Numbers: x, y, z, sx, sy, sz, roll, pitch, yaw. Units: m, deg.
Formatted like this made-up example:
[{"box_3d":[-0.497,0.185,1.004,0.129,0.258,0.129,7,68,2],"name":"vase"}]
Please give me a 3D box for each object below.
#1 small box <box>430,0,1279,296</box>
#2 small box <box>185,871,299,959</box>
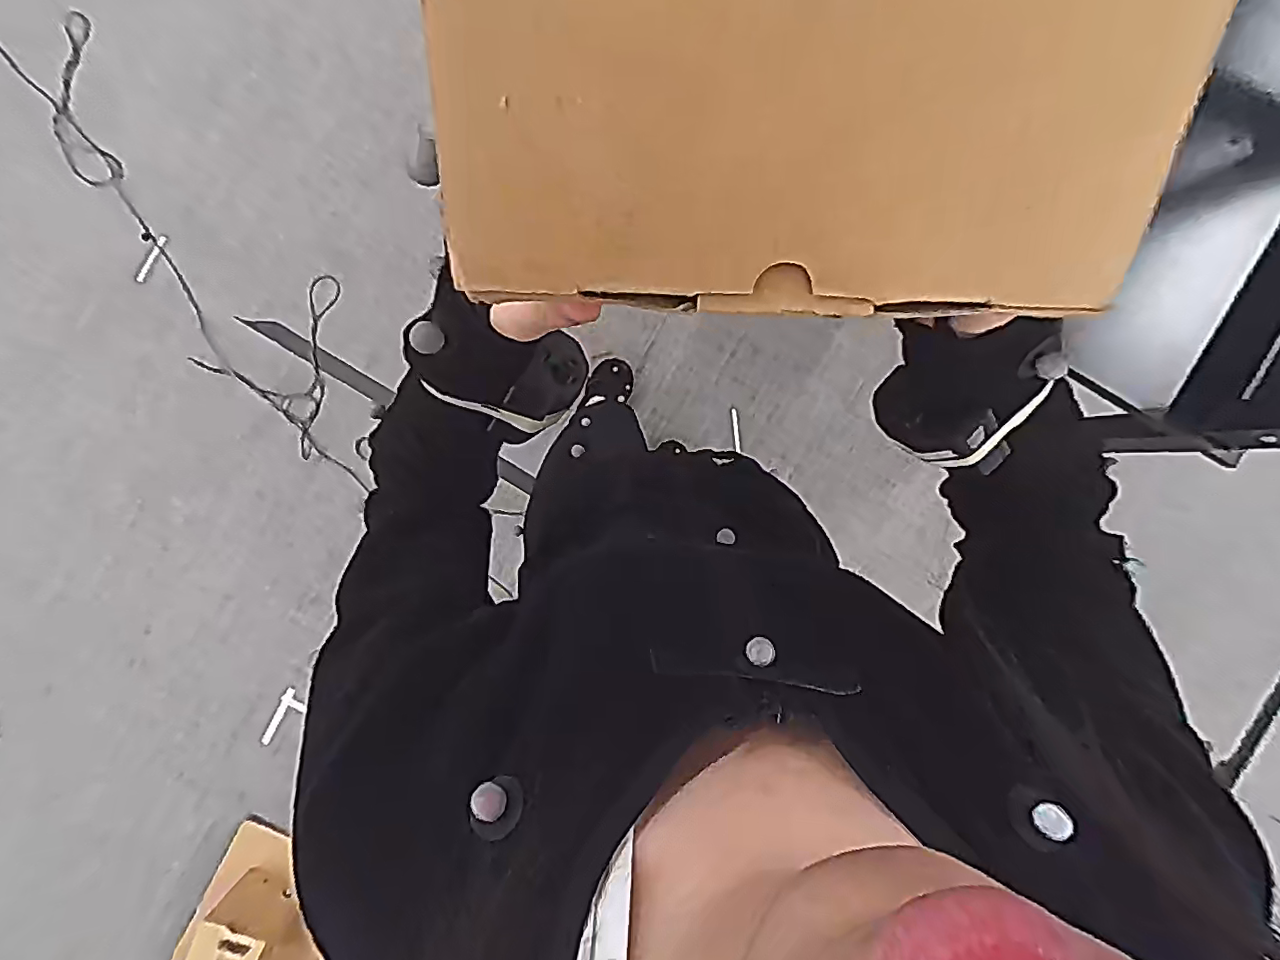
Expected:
[{"box_3d":[0.043,-0.158,0.162,0.168,0.176,0.179,1,117,1],"name":"small box"},{"box_3d":[-1.042,1.187,1.422,0.168,0.176,0.179,25,92,-2],"name":"small box"}]
